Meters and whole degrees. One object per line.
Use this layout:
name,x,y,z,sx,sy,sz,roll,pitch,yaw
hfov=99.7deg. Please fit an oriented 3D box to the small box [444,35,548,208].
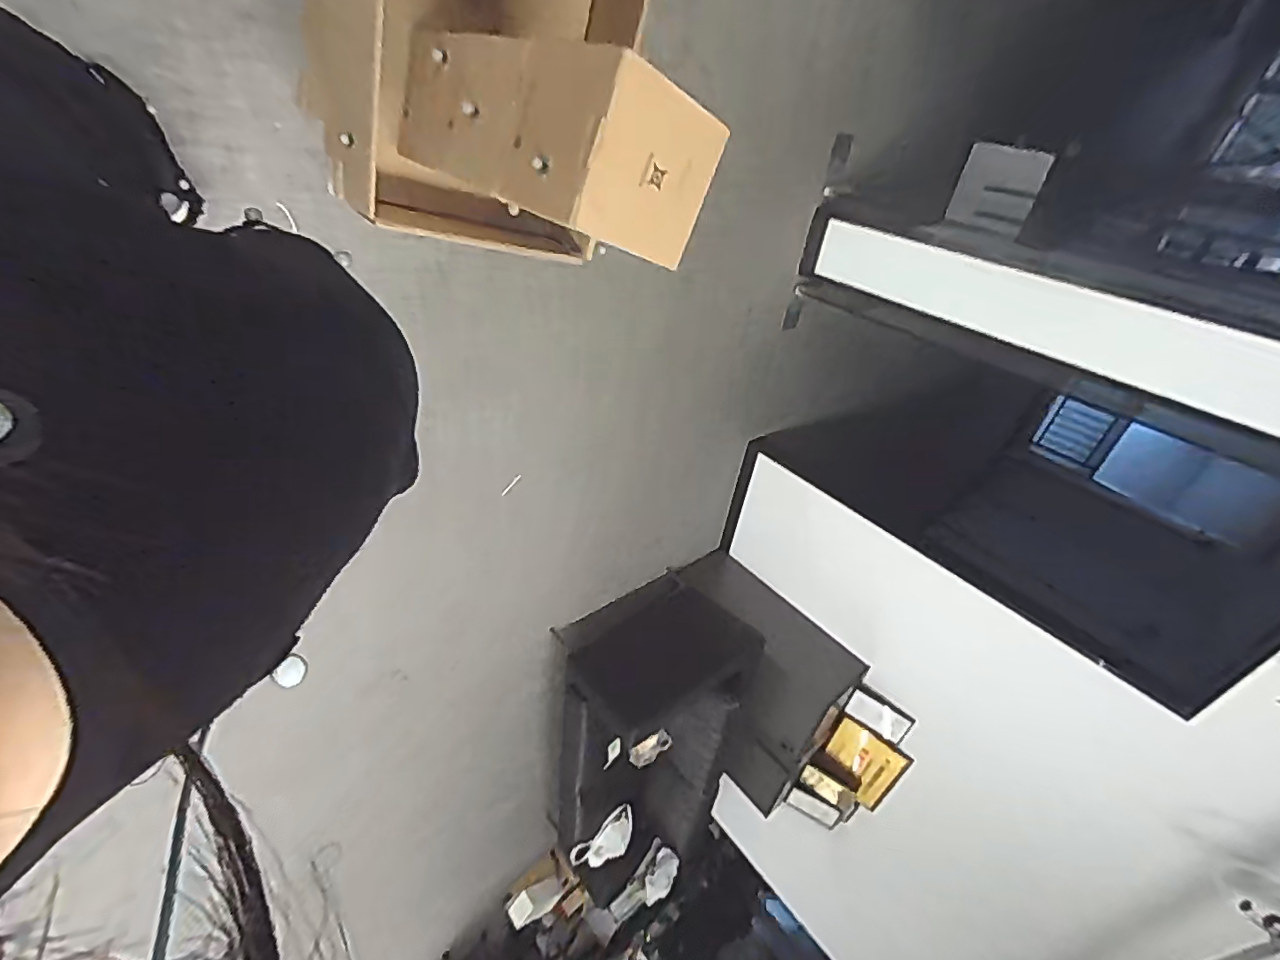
small box,-0.139,-0.455,0.725,0.179,0.176,0.168,-2,123,-45

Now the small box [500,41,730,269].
small box,-0.036,-0.371,0.629,0.179,0.176,0.168,-2,123,-47
